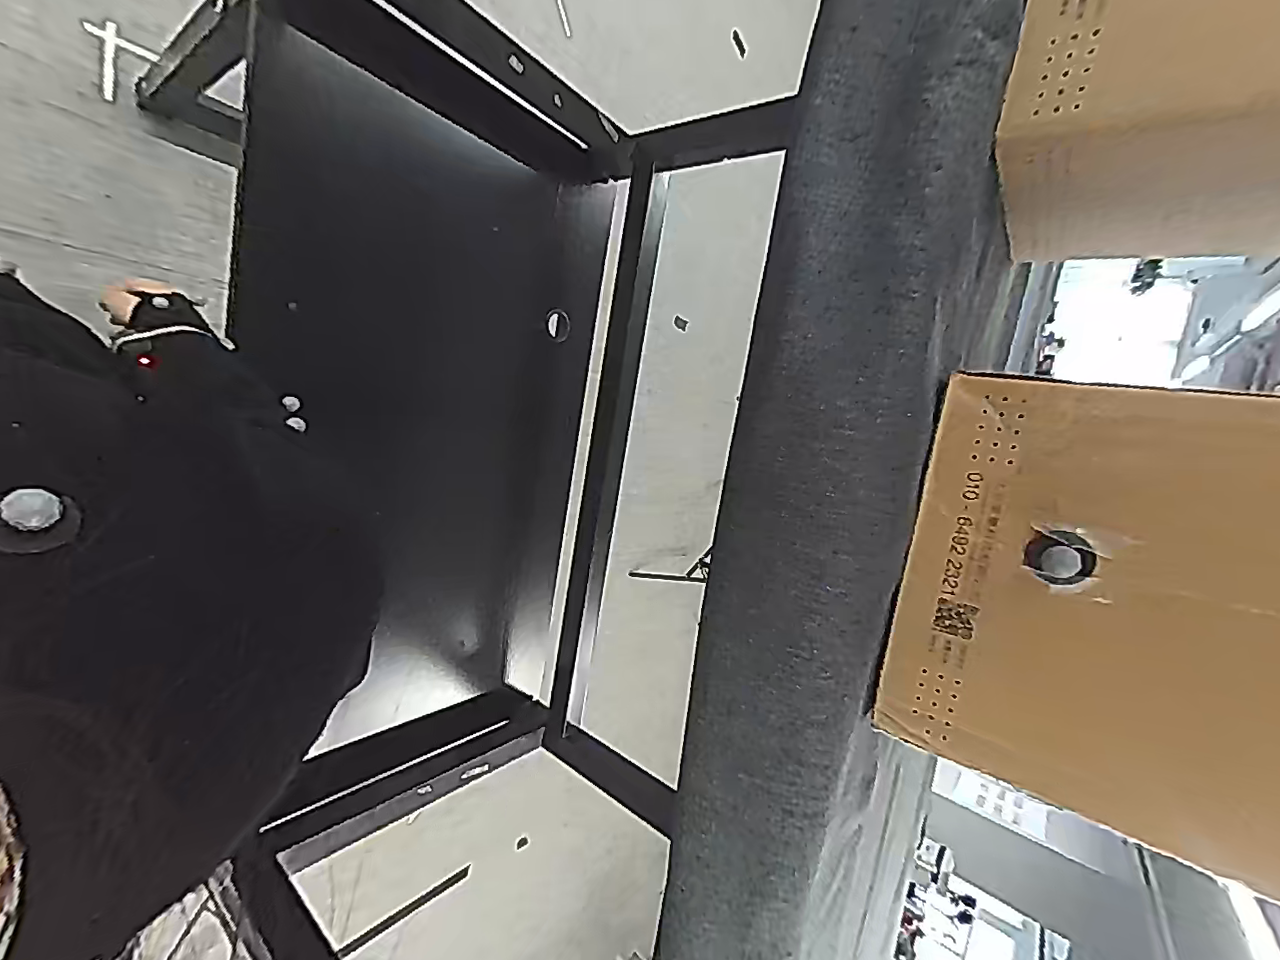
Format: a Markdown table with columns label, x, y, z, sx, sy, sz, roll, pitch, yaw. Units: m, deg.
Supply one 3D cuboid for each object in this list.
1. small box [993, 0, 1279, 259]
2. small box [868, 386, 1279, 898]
| label | x | y | z | sx | sy | sz | roll | pitch | yaw |
| --- | --- | --- | --- | --- | --- | --- | --- | --- | --- |
| small box | 0.270 | -0.202 | 0.237 | 0.179 | 0.176 | 0.168 | -5 | 106 | -54 |
| small box | 0.233 | 0.049 | 0.272 | 0.179 | 0.176 | 0.168 | -1 | 102 | -54 |
